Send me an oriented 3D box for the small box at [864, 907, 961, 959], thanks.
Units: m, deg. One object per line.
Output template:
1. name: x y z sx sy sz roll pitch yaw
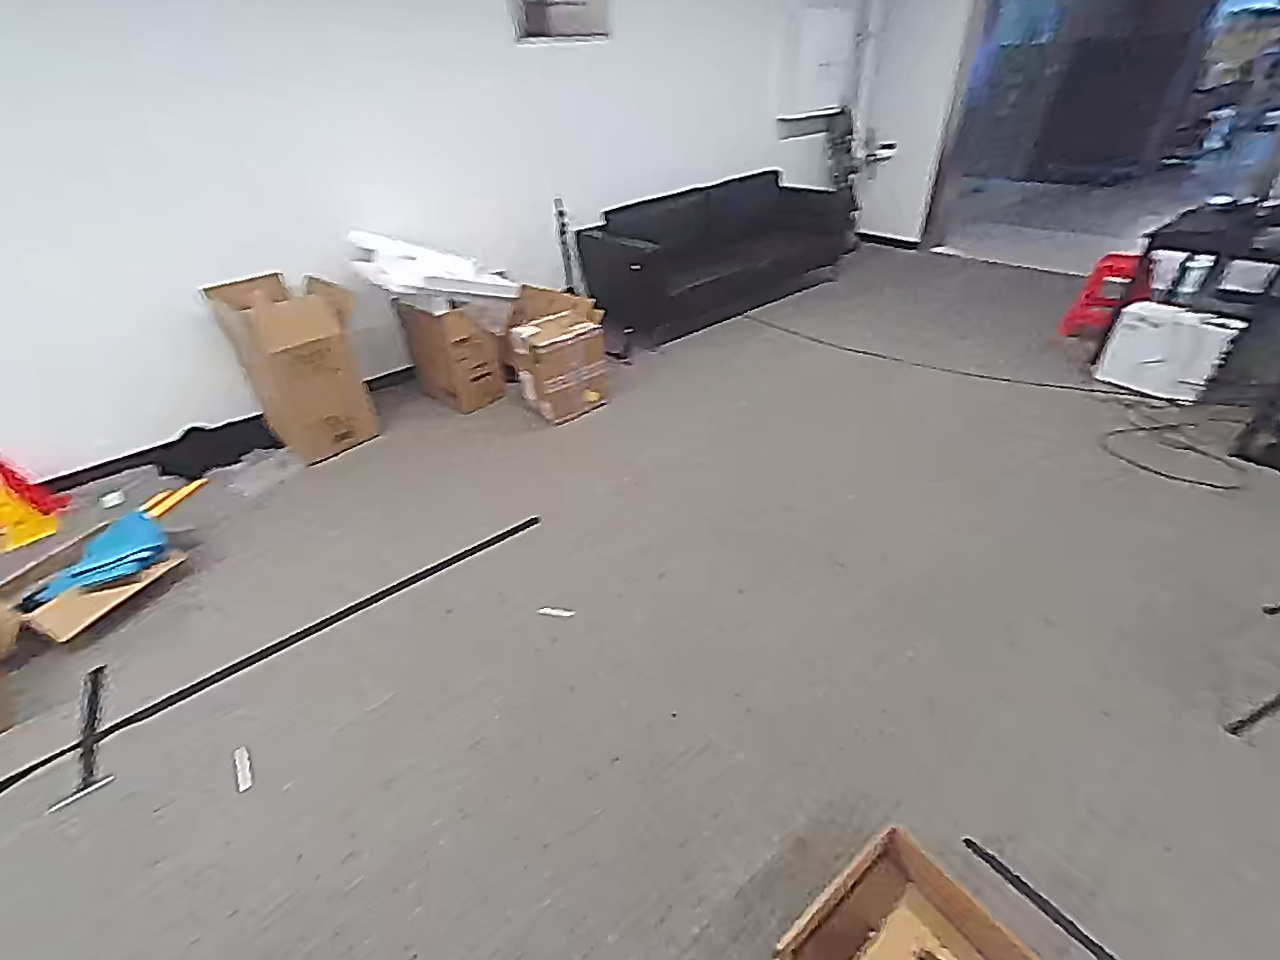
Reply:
1. small box: 0.511 0.972 1.020 0.179 0.176 0.168 -27 43 -28
